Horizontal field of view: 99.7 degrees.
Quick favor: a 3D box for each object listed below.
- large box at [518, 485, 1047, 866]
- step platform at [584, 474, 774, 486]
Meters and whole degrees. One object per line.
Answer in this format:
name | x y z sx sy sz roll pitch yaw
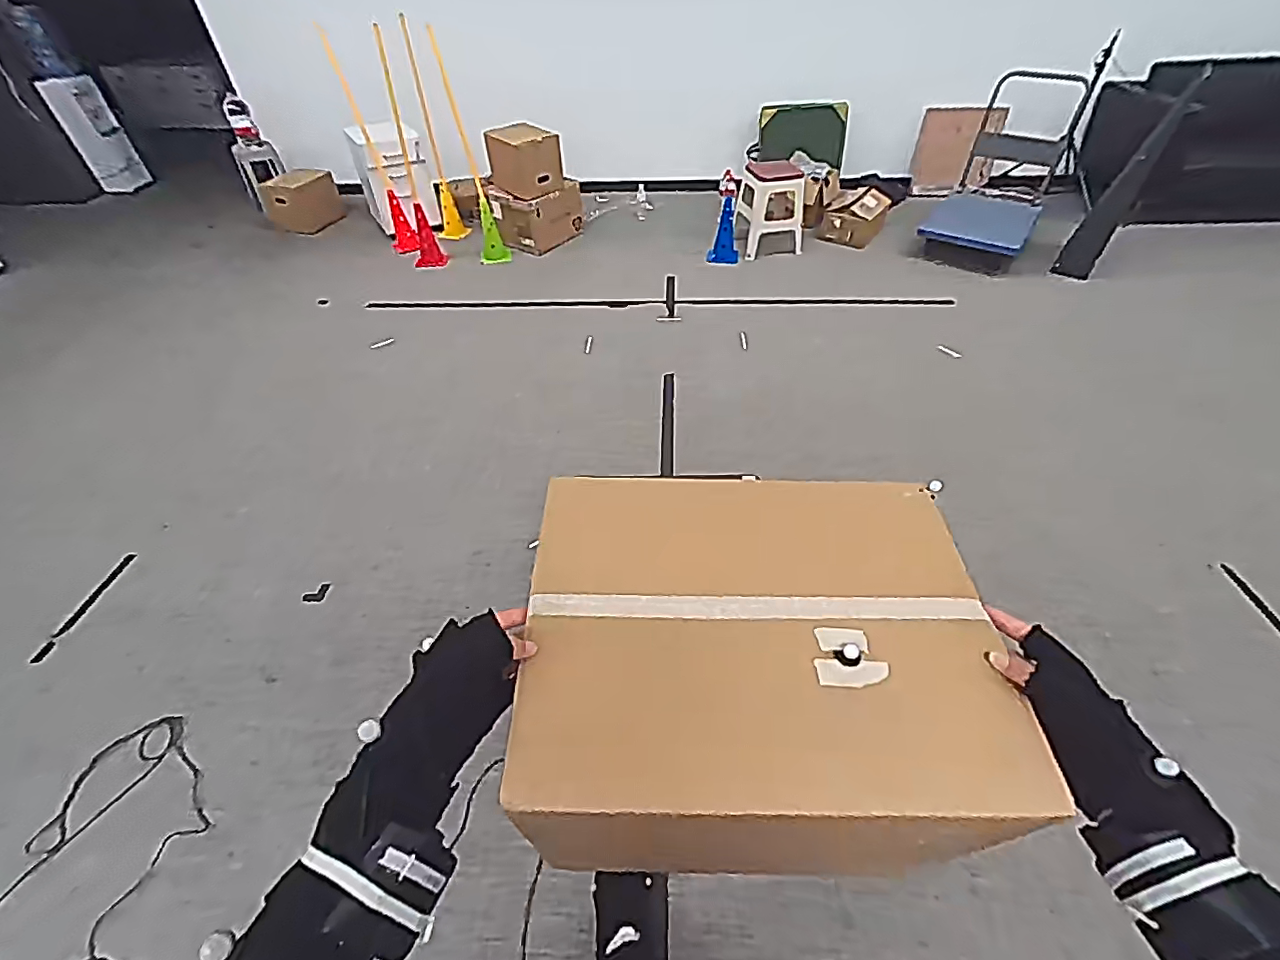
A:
large box | 0.101 0.219 0.605 0.408 0.320 0.320 1 48 -1
step platform | 0.128 0.139 1.825 0.684 0.204 0.286 -1 45 0
